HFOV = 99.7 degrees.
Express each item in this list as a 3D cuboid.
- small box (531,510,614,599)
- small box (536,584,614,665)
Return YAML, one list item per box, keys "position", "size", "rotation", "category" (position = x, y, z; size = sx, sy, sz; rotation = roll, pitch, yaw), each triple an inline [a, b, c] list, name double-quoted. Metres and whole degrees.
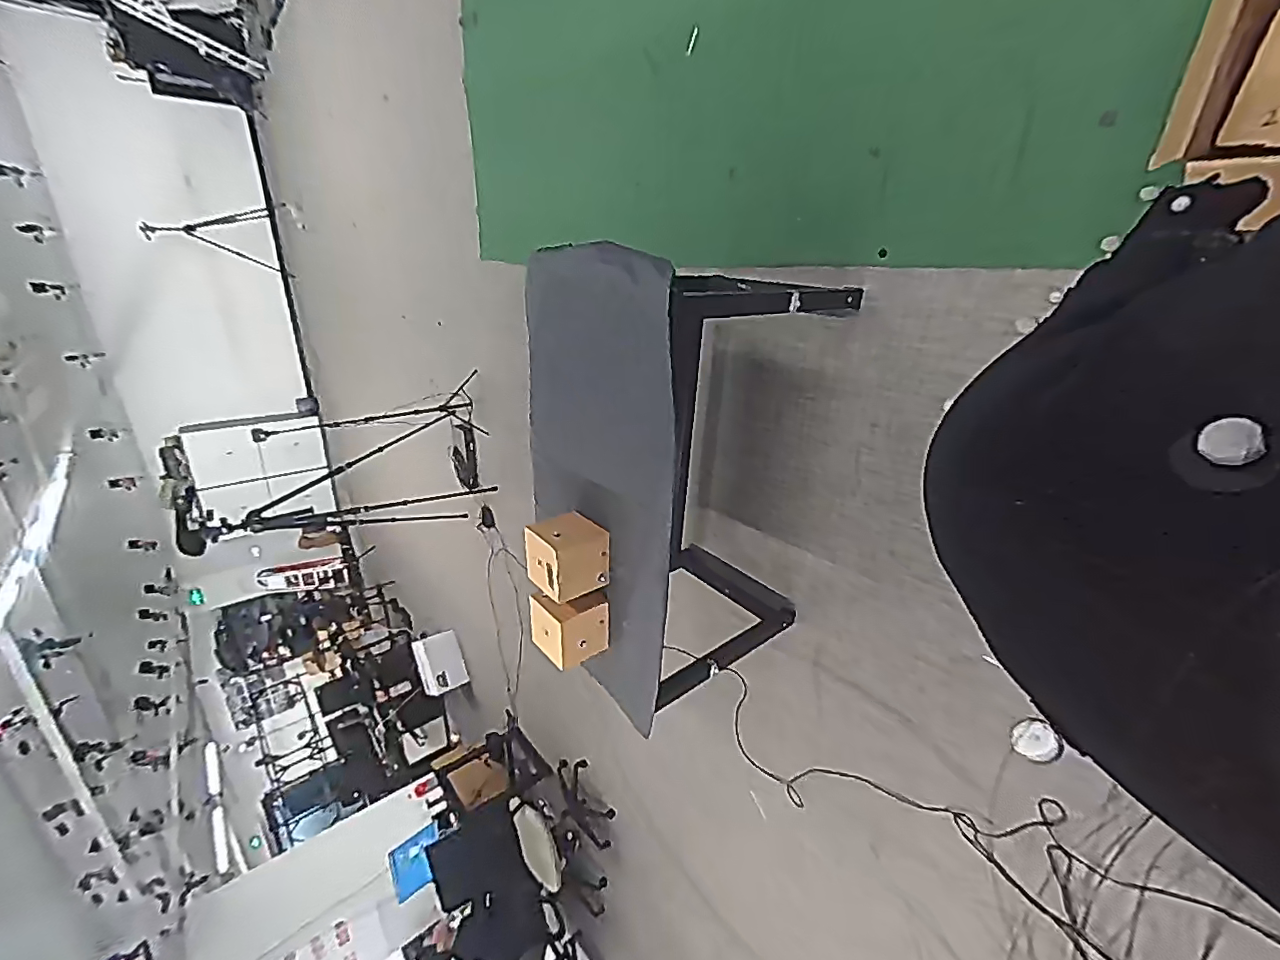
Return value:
- position: [-0.186, 0.198, 1.512]
  size: [0.179, 0.176, 0.168]
  rotation: [26, 123, 46]
  category: "small box"
- position: [-0.187, 0.404, 1.598]
  size: [0.179, 0.176, 0.168]
  rotation: [26, 123, 46]
  category: "small box"
